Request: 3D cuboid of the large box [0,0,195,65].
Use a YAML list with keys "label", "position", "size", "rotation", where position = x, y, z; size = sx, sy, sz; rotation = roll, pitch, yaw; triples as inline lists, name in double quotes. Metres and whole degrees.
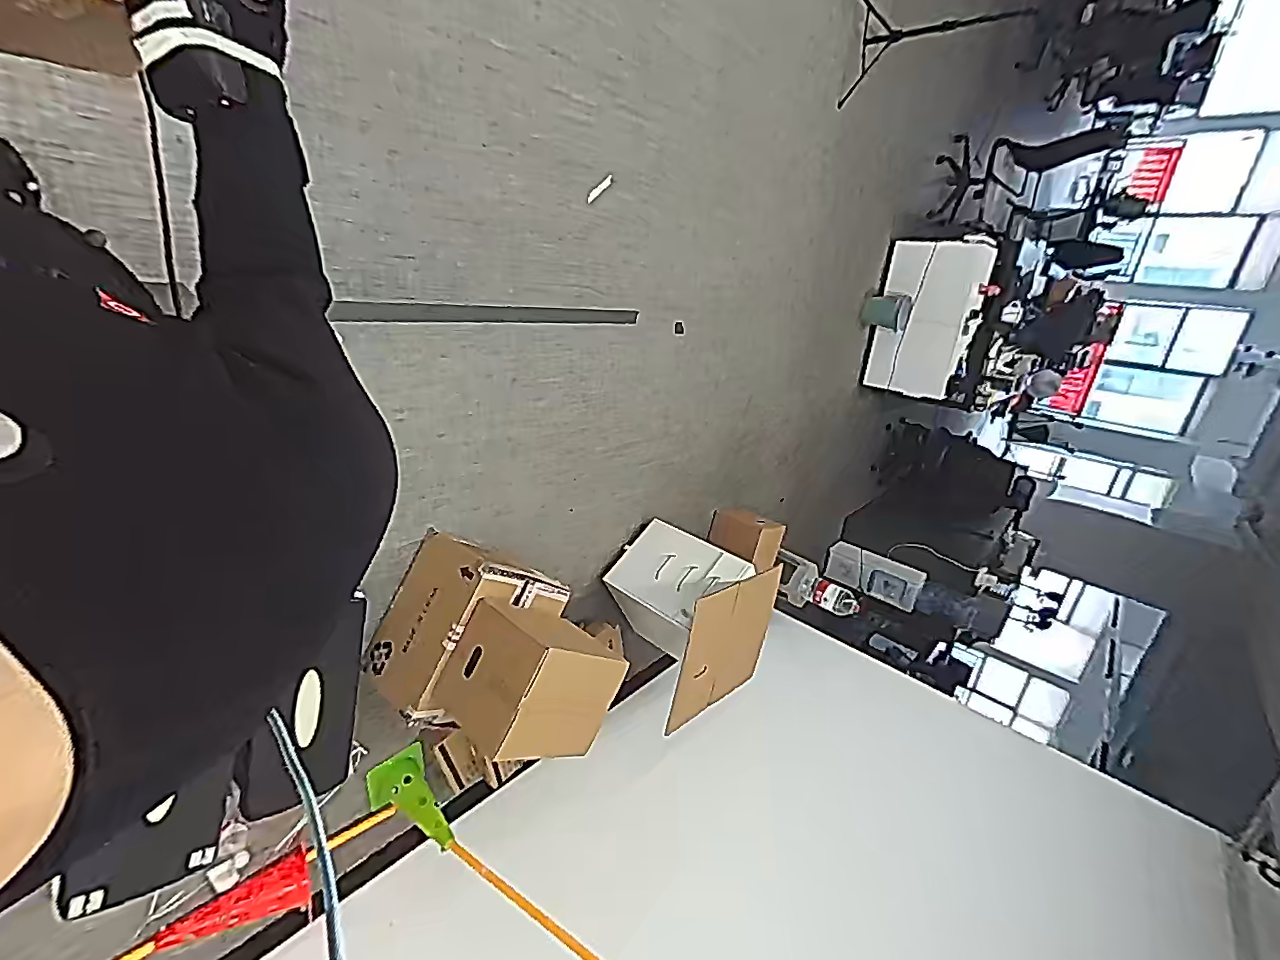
- label: "large box"
  position: [-0.551, -0.470, 0.280]
  size: [0.408, 0.320, 0.320]
  rotation: [-20, 125, -44]
